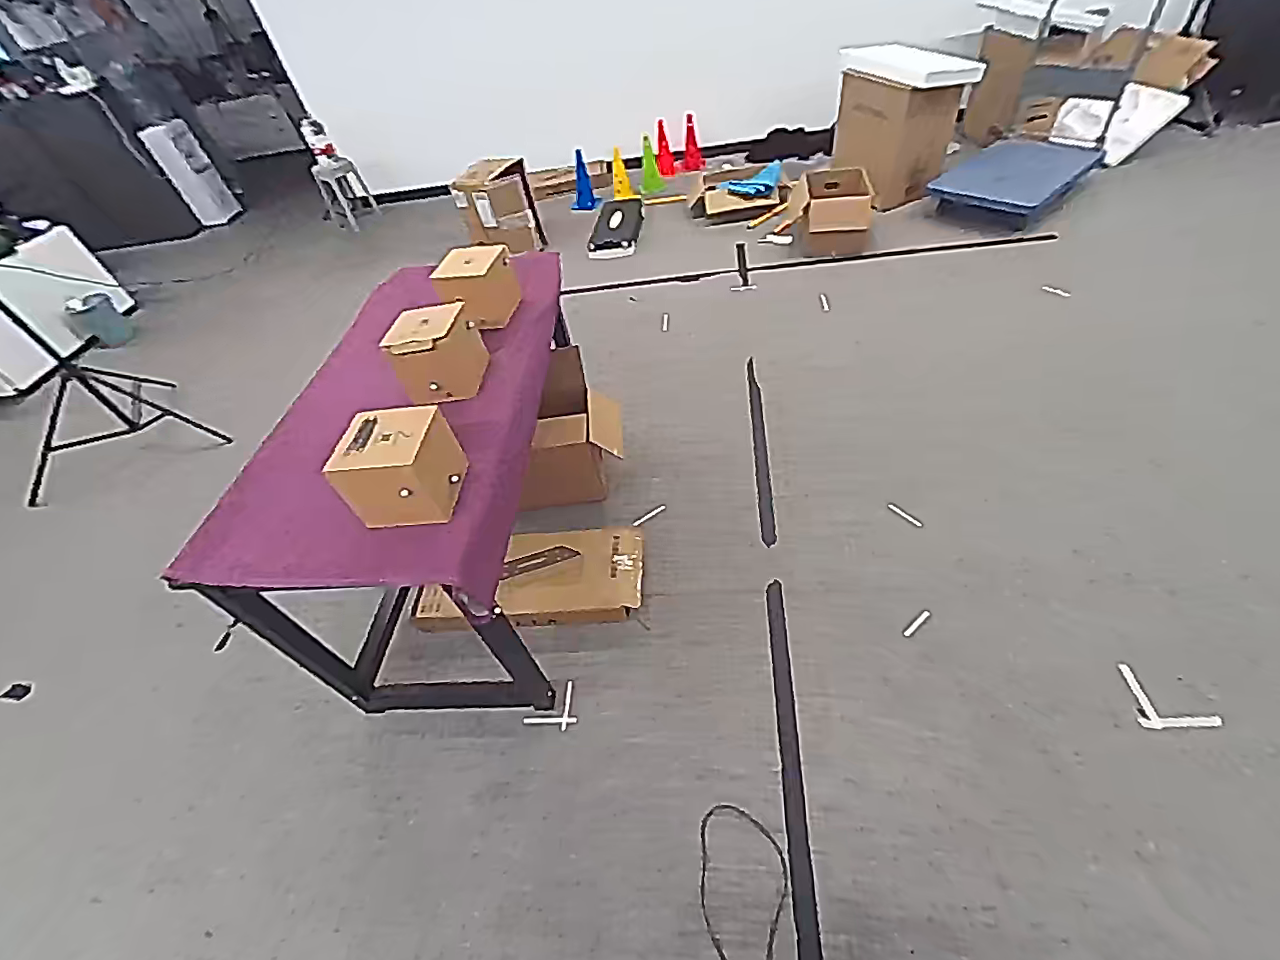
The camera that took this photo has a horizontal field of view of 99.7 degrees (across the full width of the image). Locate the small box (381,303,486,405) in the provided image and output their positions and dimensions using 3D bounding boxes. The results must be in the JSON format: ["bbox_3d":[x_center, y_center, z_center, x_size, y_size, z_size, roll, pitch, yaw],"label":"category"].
[{"bbox_3d":[-0.498,-0.310,1.339,0.168,0.176,0.179,-7,47,9],"label":"small box"}]

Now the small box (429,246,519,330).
[{"bbox_3d":[-0.467,-0.545,1.552,0.168,0.176,0.179,0,47,12],"label":"small box"}]
